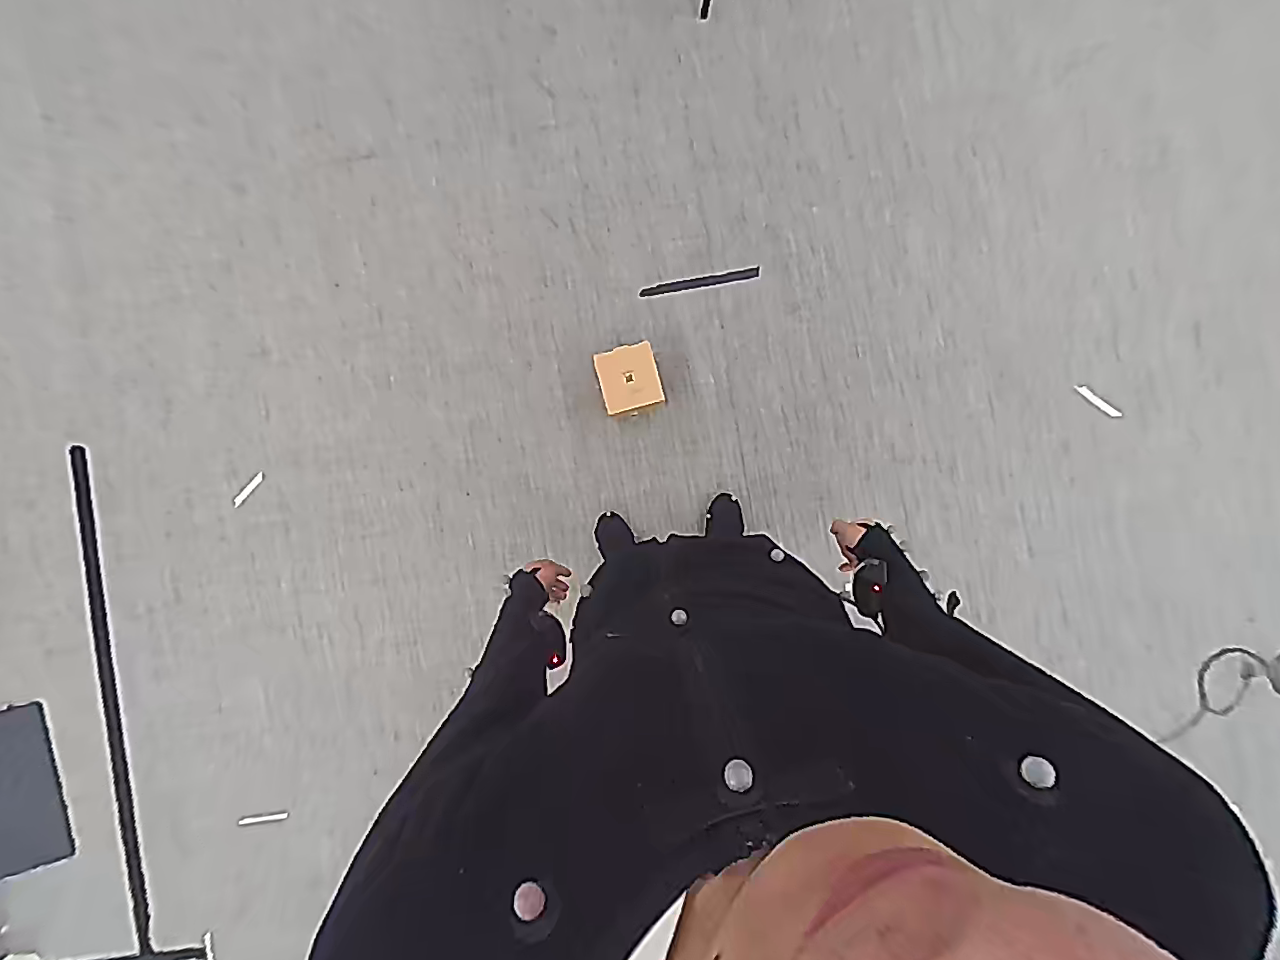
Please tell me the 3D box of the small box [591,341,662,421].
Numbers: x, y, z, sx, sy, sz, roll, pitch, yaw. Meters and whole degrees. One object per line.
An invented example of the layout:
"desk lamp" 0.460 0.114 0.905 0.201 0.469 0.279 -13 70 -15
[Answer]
"small box" -0.038 -0.283 1.580 0.168 0.176 0.179 -15 89 1
